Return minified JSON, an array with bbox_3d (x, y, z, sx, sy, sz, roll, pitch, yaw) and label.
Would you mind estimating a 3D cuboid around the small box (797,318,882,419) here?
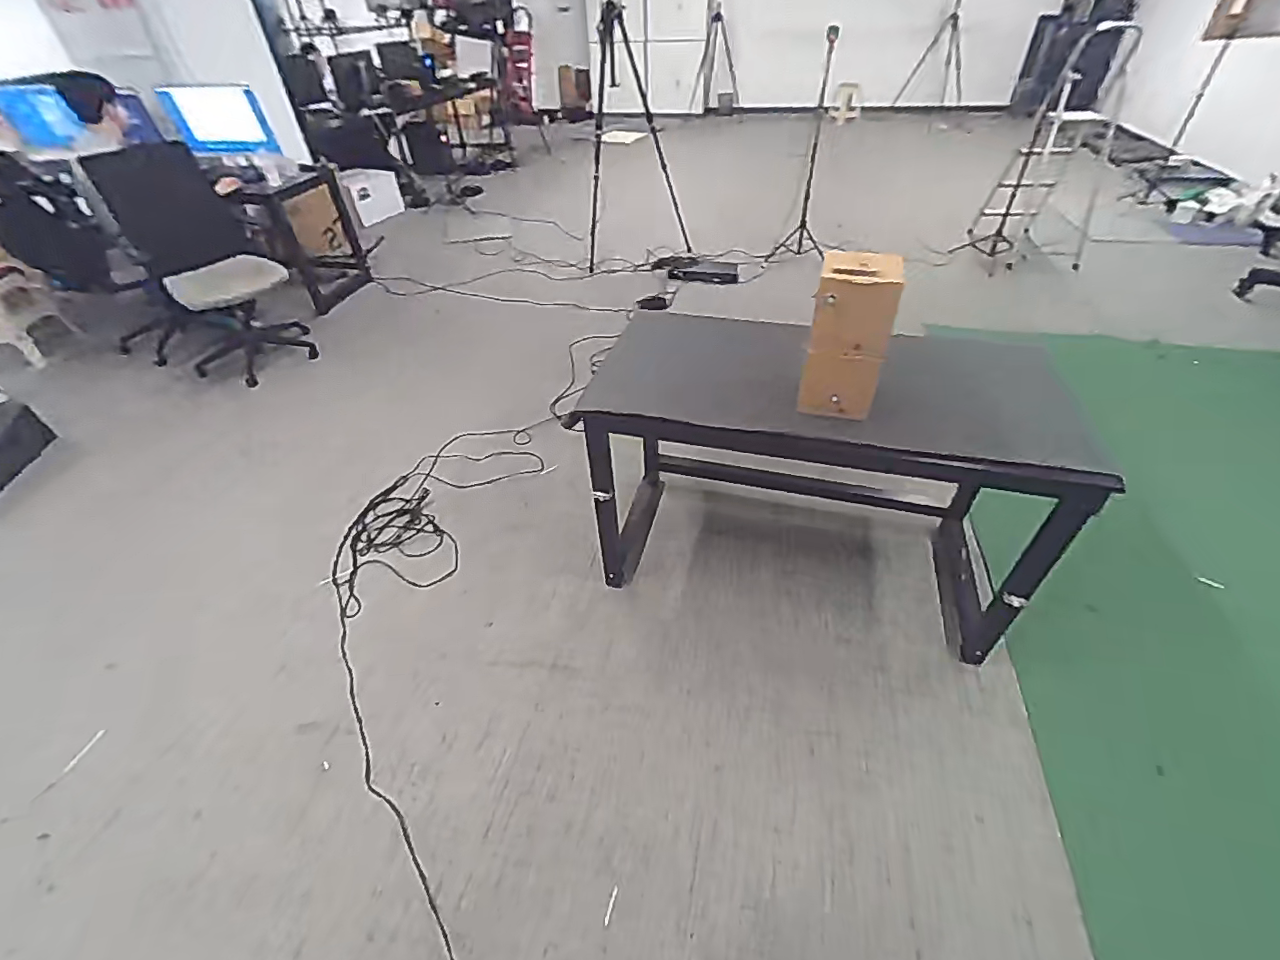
[{"bbox_3d":[0.483,-0.273,1.318,0.168,0.176,0.179,10,43,15],"label":"small box"}]
